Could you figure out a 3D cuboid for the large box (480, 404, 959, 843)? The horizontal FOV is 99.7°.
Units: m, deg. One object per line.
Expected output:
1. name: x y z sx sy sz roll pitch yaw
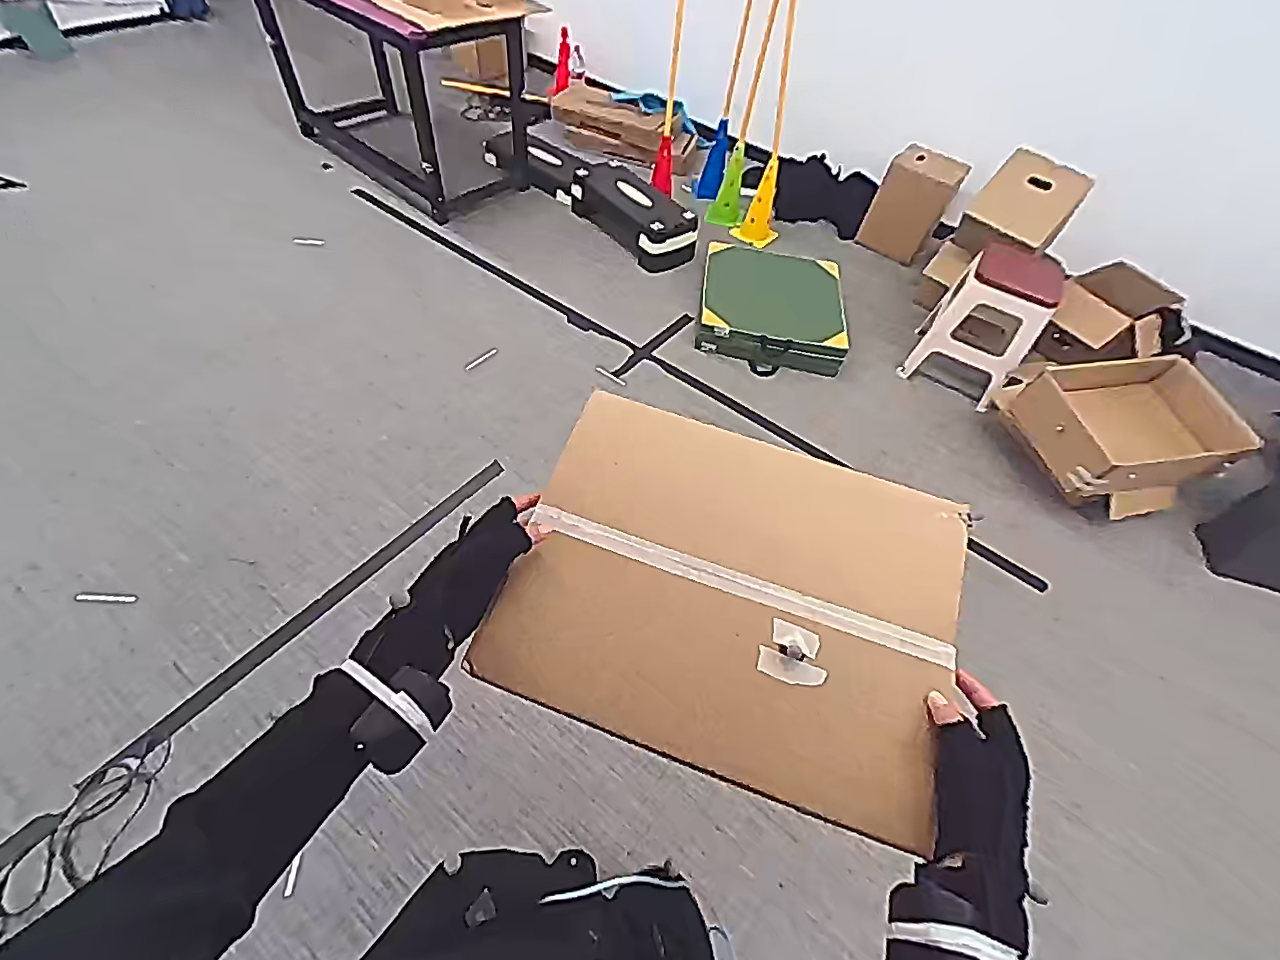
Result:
1. large box: 0.086 0.166 0.651 0.408 0.320 0.320 19 67 7
